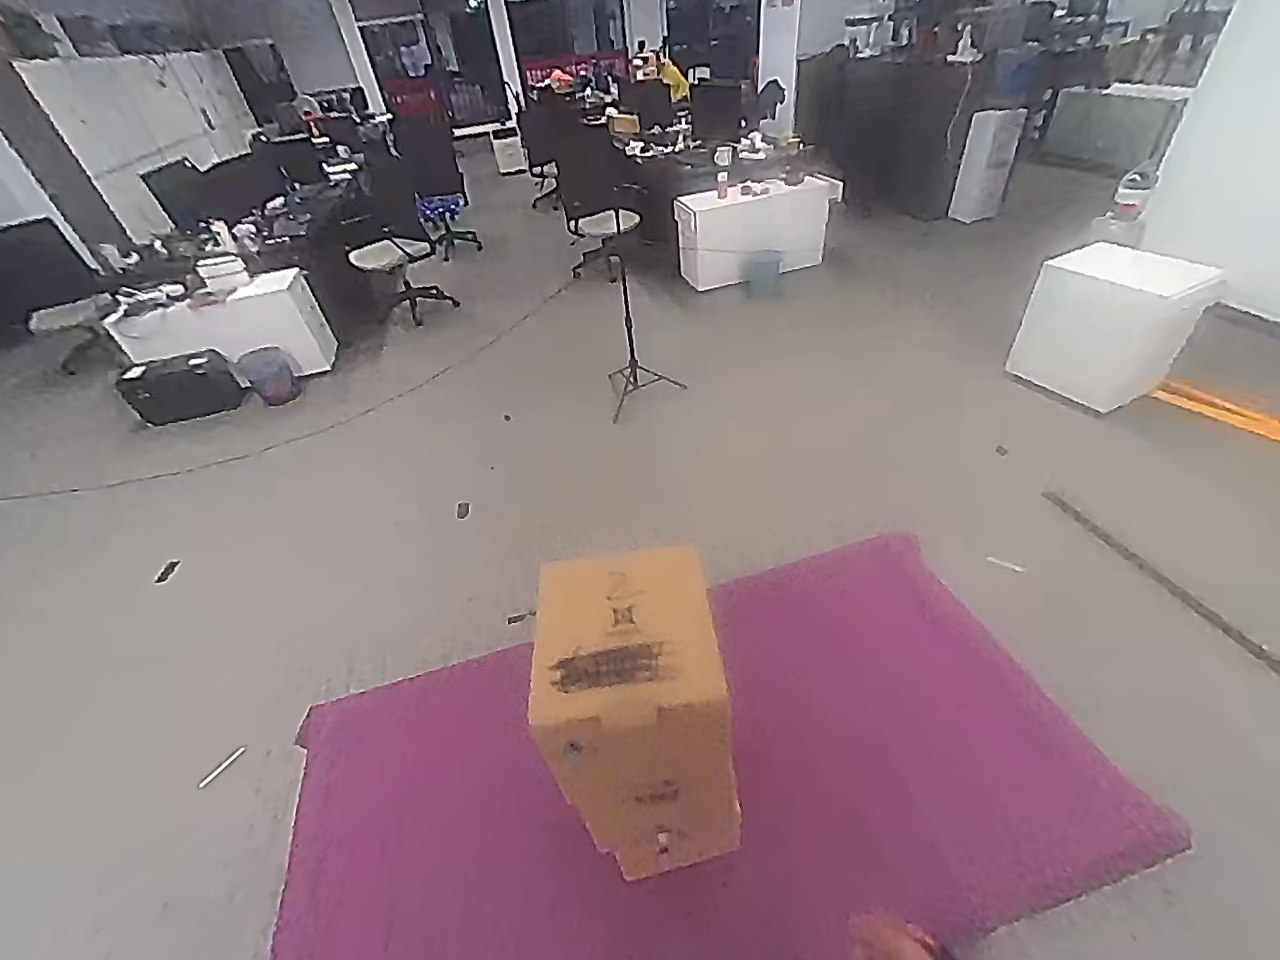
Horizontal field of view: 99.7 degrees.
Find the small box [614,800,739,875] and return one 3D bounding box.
[{"bbox_3d":[0.038,0.432,0.770,0.168,0.176,0.179,-12,40,-5],"label":"small box"}]

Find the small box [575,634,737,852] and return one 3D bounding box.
[{"bbox_3d":[0.018,0.315,0.654,0.168,0.176,0.179,-8,40,0],"label":"small box"}]
